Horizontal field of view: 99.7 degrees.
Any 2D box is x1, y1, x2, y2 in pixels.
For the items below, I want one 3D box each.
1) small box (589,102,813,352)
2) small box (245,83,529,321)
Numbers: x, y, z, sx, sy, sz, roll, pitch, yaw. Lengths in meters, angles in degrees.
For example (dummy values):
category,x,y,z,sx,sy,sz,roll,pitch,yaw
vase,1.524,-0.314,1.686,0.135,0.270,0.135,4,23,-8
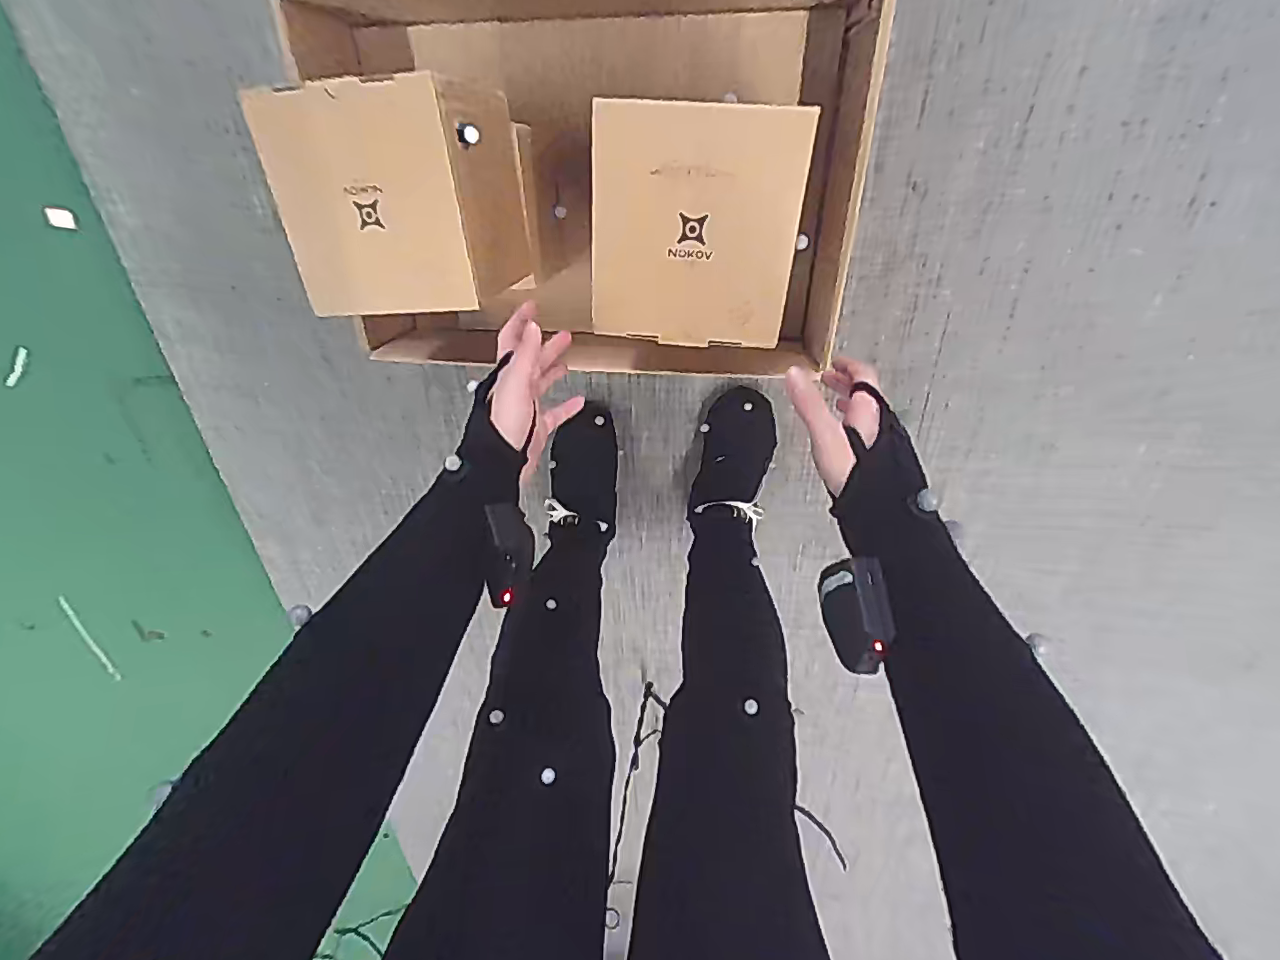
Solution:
category,x,y,z,sx,sy,sz,roll,pitch,yaw
small box,0.051,-0.234,0.502,0.168,0.176,0.179,6,120,5
small box,-0.220,-0.266,0.529,0.168,0.176,0.179,0,119,9
